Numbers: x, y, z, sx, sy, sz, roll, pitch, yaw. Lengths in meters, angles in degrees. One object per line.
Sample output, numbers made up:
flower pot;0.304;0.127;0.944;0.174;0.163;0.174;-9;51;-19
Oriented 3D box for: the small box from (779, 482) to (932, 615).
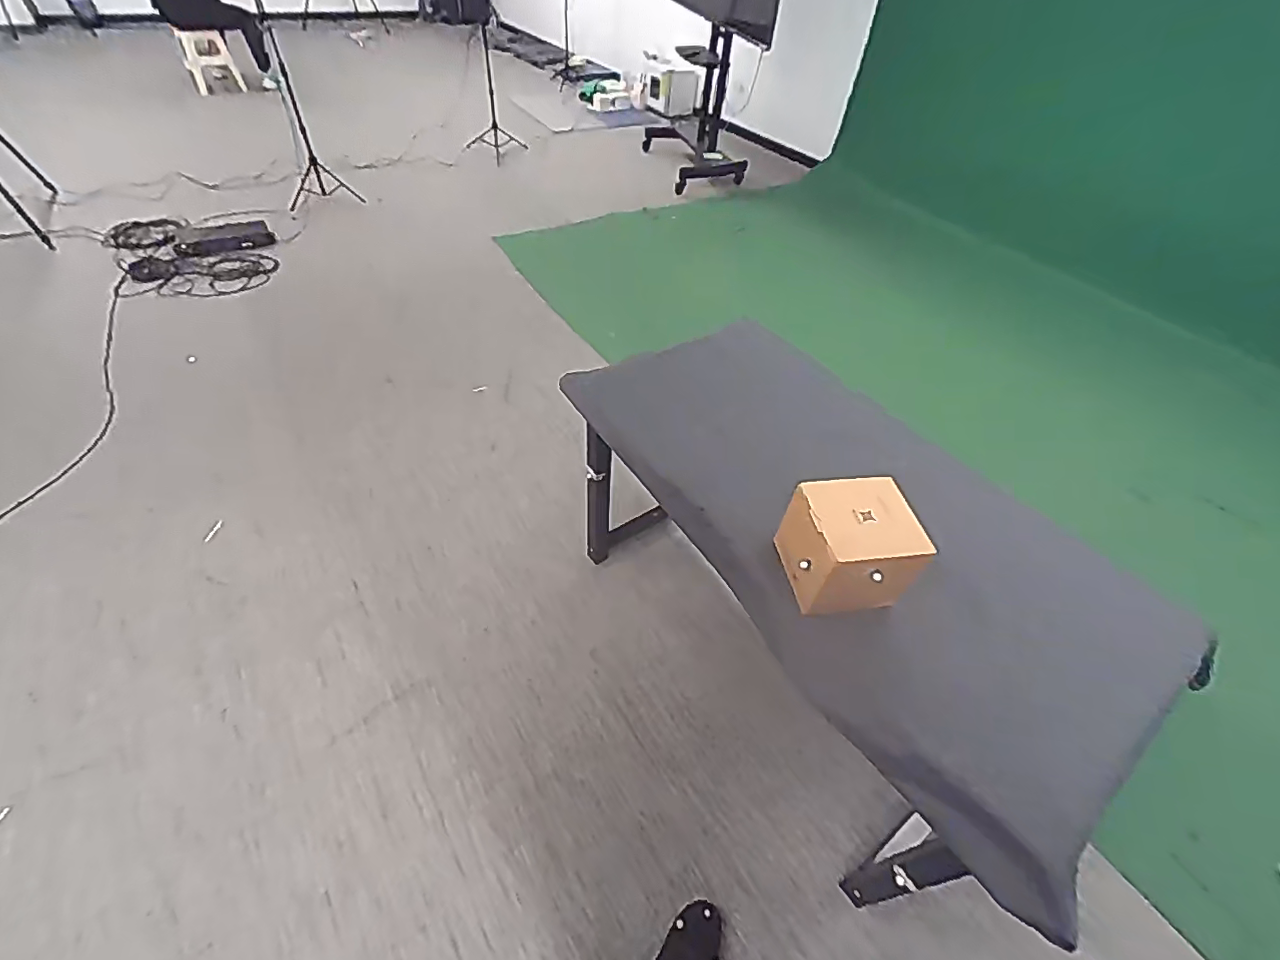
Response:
small box;0.358;0.122;0.947;0.179;0.176;0.168;-3;49;-11
